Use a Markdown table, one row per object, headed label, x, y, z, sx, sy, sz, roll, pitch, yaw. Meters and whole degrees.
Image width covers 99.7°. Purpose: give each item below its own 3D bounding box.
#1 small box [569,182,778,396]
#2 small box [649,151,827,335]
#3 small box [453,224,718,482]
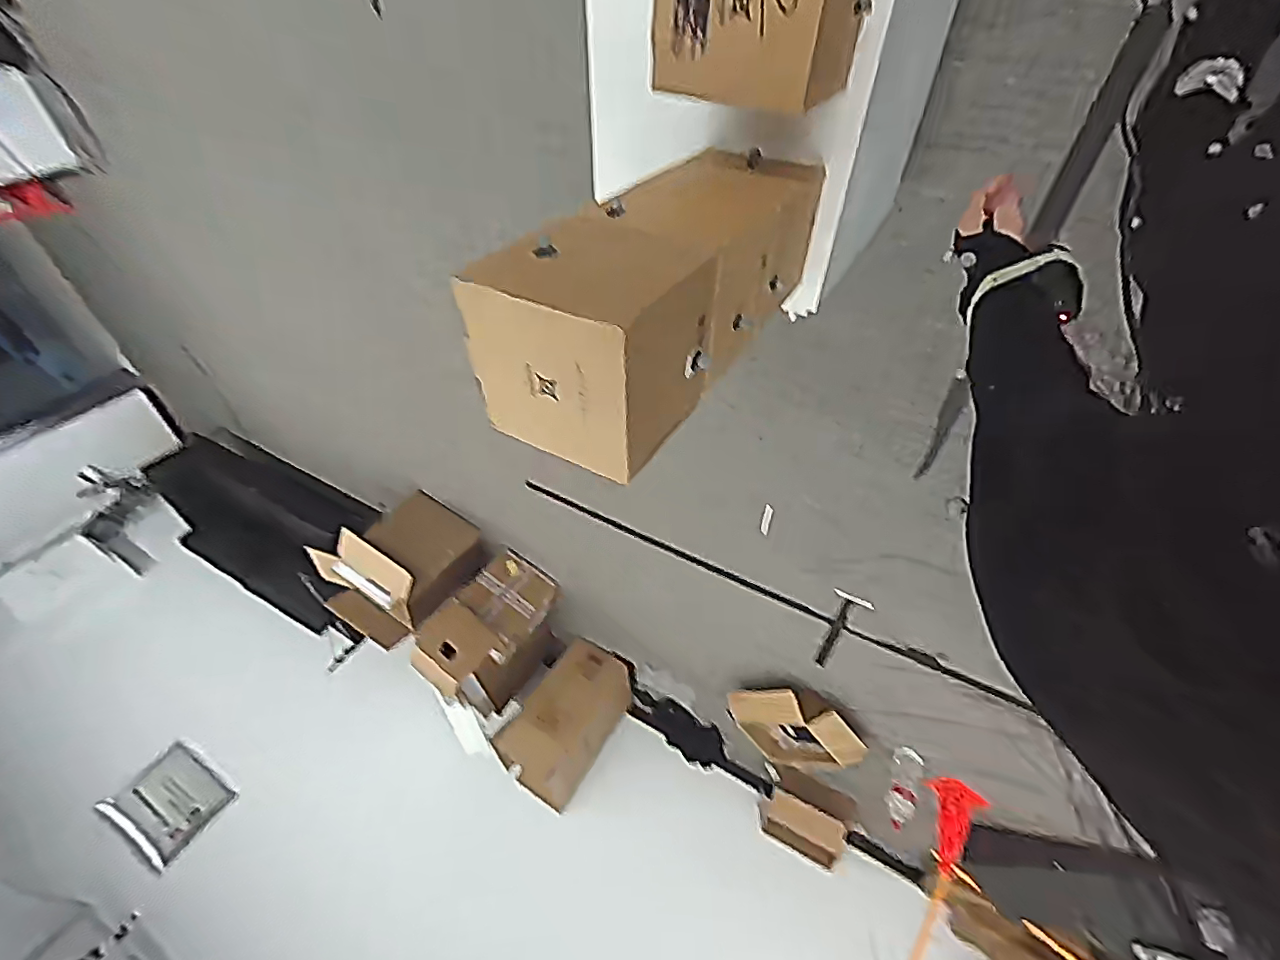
| label | x | y | z | sx | sy | sz | roll | pitch | yaw |
| --- | --- | --- | --- | --- | --- | --- | --- | --- | --- |
| small box | 0.043 | -0.228 | 0.629 | 0.179 | 0.176 | 0.168 | 23 | 139 | 22 |
| small box | 0.125 | -0.326 | 0.729 | 0.179 | 0.176 | 0.168 | 24 | 140 | 22 |
| small box | -0.043 | -0.133 | 0.529 | 0.179 | 0.176 | 0.168 | 22 | 139 | 22 |
